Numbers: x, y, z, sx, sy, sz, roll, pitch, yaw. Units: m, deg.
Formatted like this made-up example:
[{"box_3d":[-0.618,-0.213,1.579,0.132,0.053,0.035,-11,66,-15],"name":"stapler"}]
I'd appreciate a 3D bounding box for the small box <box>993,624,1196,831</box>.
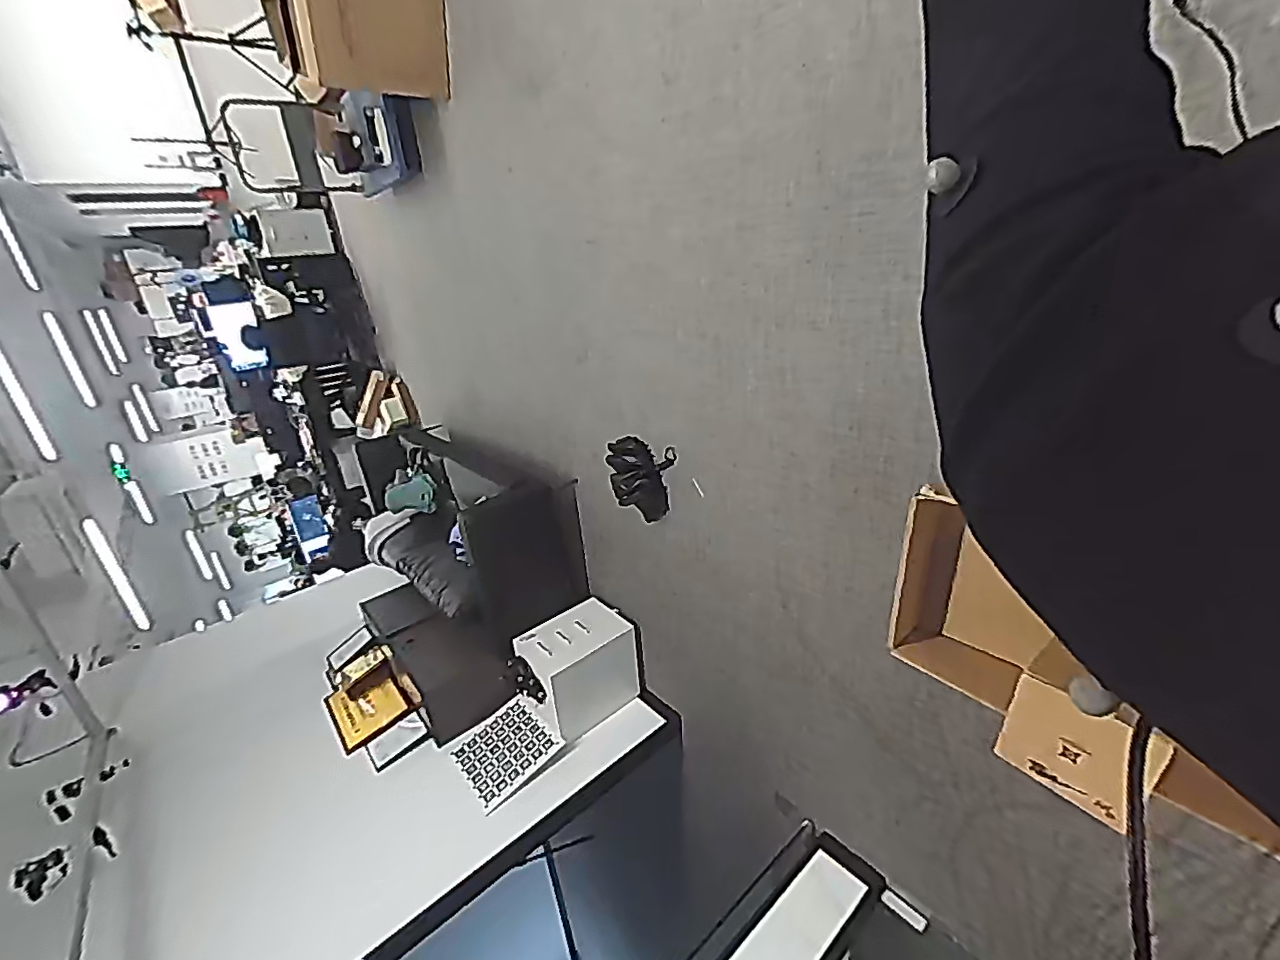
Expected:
[{"box_3d":[0.657,0.343,0.785,0.168,0.176,0.179,29,129,46],"name":"small box"}]
